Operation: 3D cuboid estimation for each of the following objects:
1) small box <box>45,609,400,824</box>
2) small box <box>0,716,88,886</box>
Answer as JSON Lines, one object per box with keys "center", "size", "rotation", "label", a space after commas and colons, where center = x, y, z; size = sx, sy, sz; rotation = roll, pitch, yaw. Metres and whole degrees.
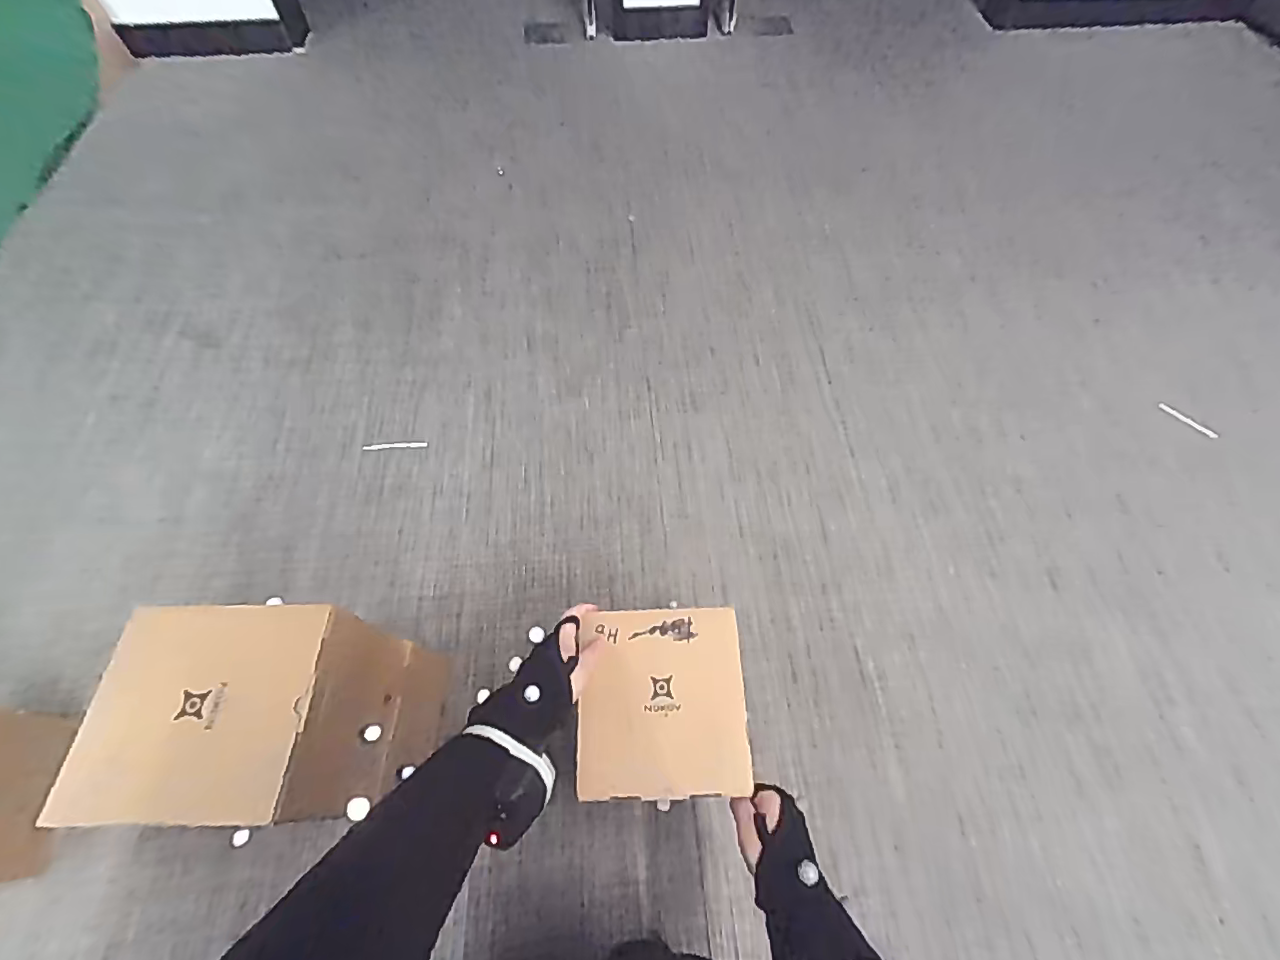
{"center": [-0.360, 0.227, 0.513], "size": [0.179, 0.176, 0.168], "rotation": [0, 60, 0], "label": "small box"}
{"center": [-0.805, 0.373, 0.618], "size": [0.168, 0.176, 0.179], "rotation": [-4, 60, -3], "label": "small box"}
